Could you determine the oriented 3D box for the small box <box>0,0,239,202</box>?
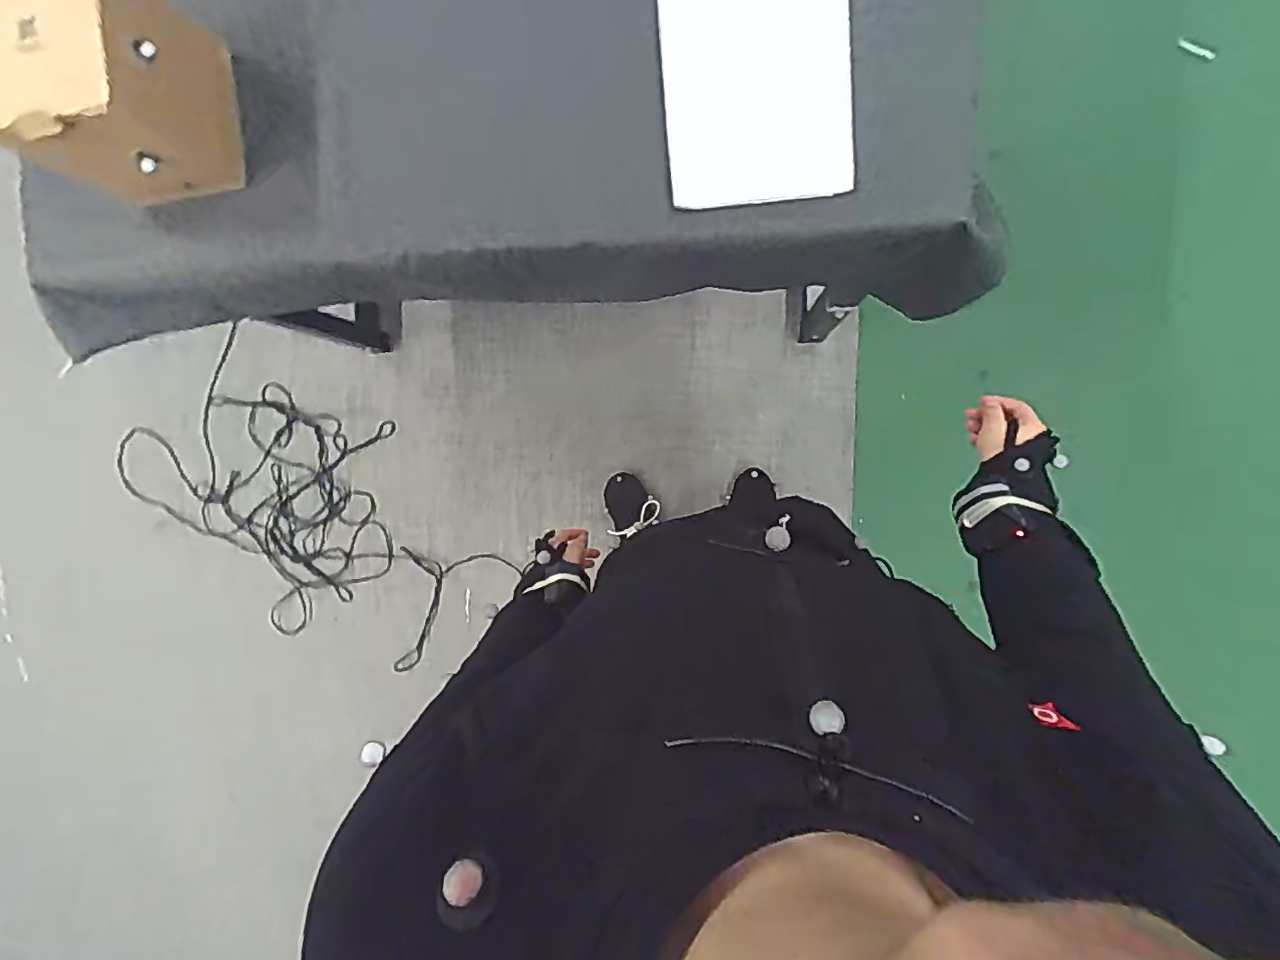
[{"bbox_3d":[-0.602,-0.444,0.619,0.168,0.176,0.179,-5,91,7],"label":"small box"}]
